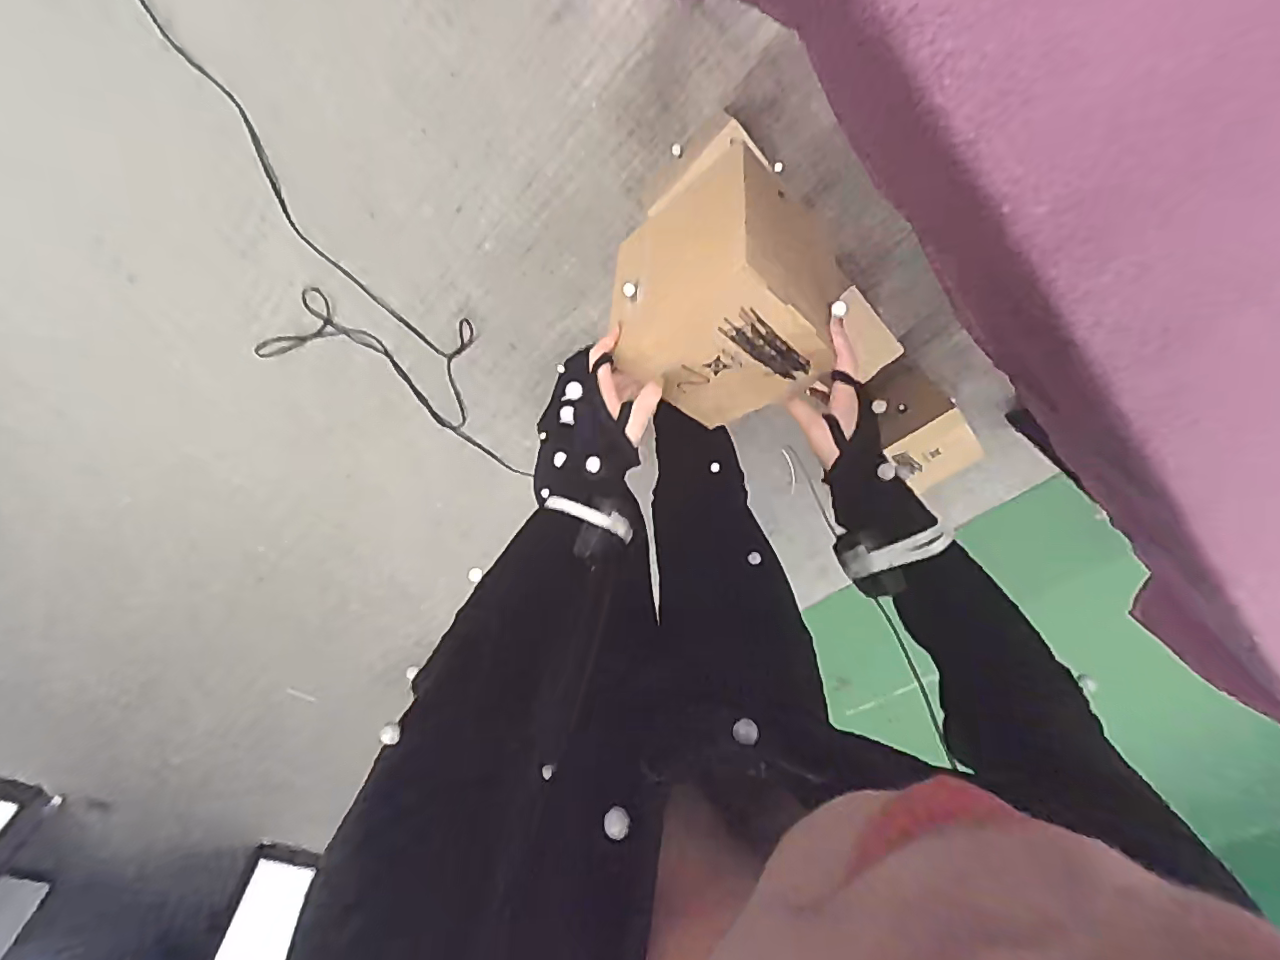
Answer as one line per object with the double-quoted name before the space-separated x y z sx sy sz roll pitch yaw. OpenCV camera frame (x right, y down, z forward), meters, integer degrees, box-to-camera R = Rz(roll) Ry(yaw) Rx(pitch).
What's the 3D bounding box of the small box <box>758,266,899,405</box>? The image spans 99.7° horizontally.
"small box" 0.350 -0.283 1.035 0.179 0.176 0.168 37 120 -26
